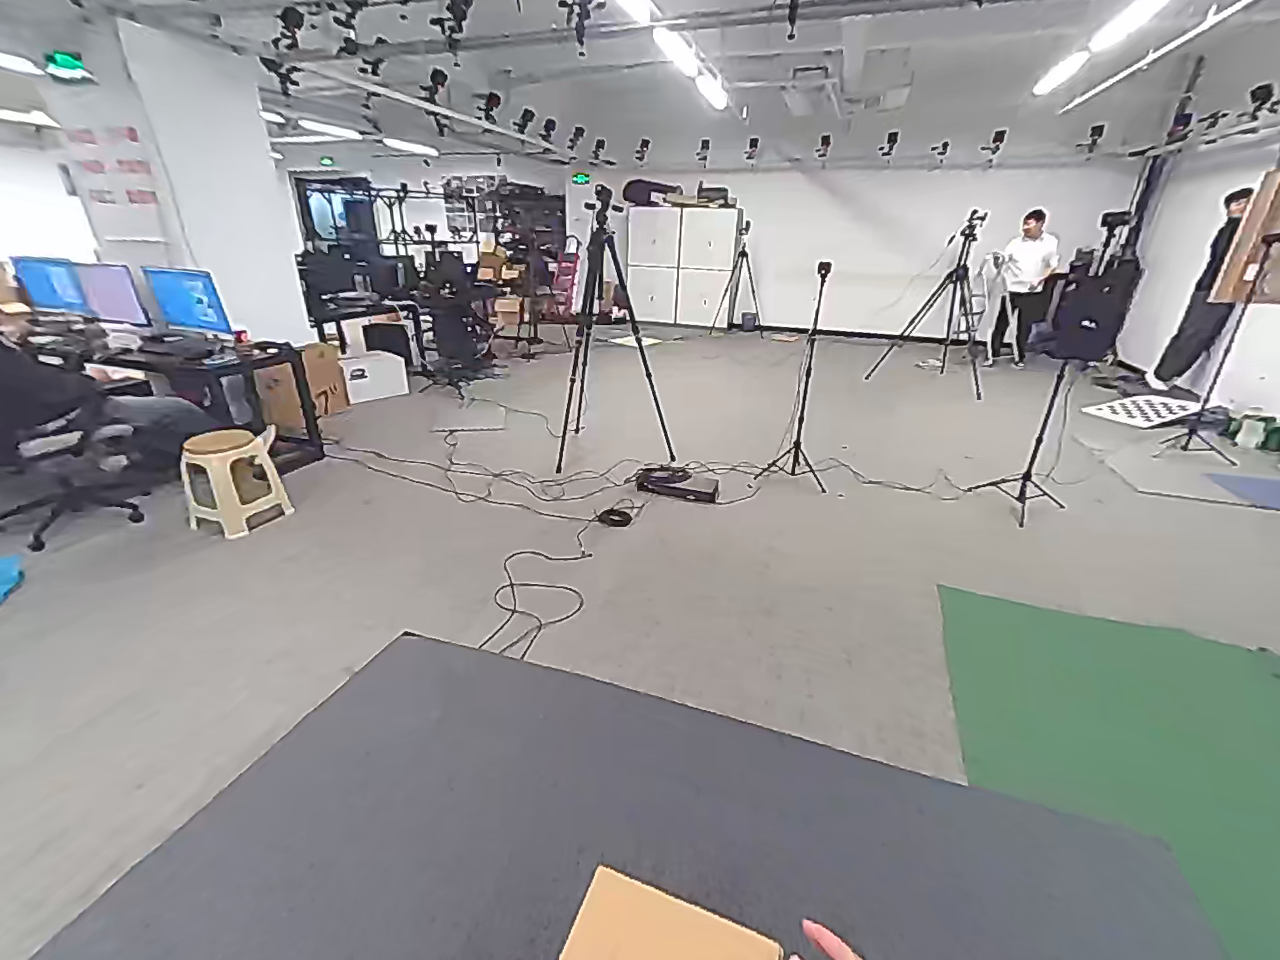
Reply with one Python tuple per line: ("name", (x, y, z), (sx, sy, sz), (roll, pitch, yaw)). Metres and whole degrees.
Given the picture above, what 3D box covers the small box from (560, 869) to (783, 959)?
("small box", (0.011, 0.485, 0.449), (0.179, 0.176, 0.168), (9, 23, 19))
